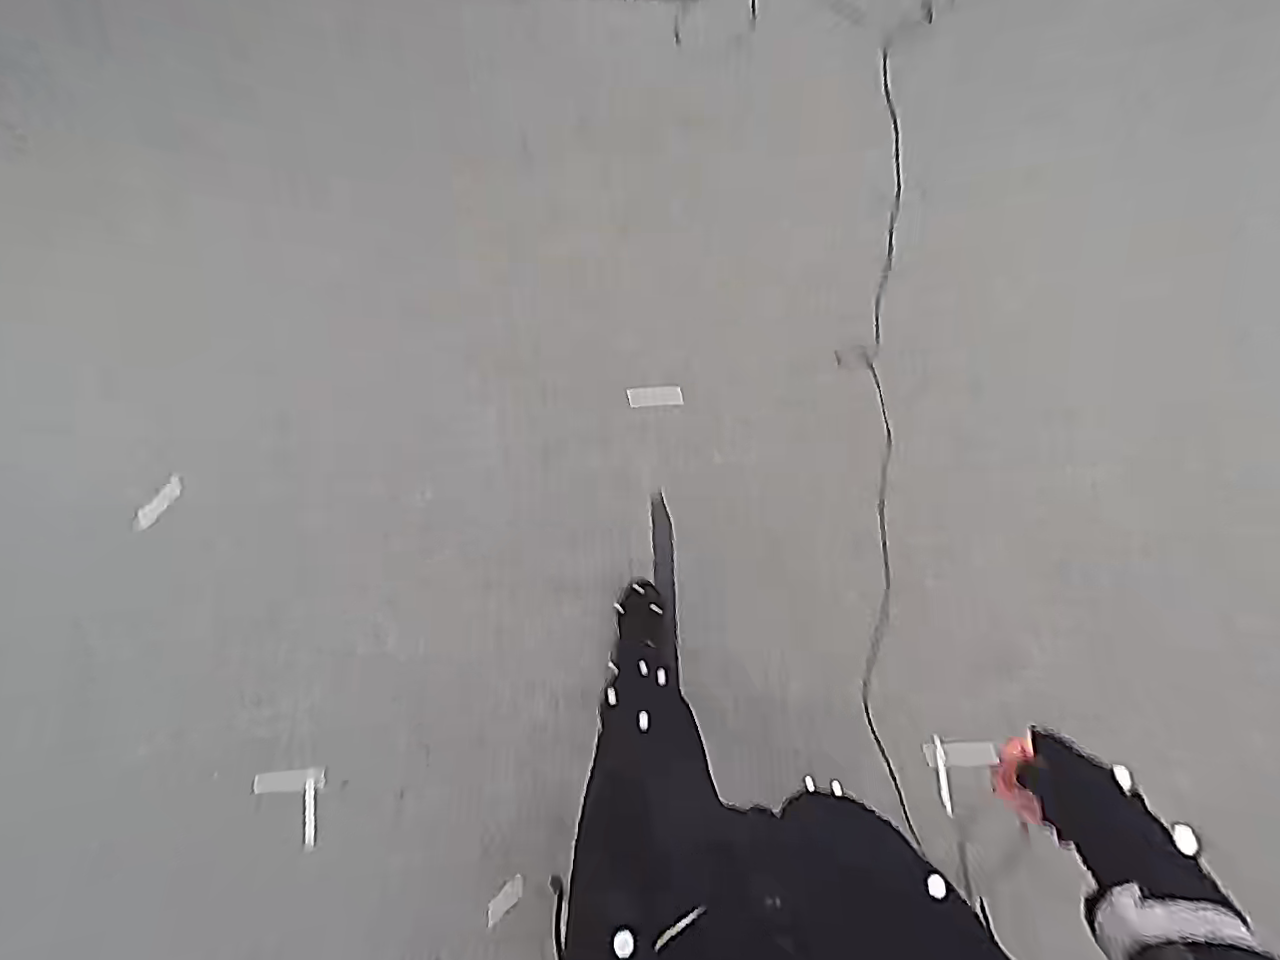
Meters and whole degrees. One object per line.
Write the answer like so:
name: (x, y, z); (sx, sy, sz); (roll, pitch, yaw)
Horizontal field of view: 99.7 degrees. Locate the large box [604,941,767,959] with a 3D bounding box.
large box: (0.105, 1.156, 1.017); (0.408, 0.320, 0.320); (4, 82, 4)
